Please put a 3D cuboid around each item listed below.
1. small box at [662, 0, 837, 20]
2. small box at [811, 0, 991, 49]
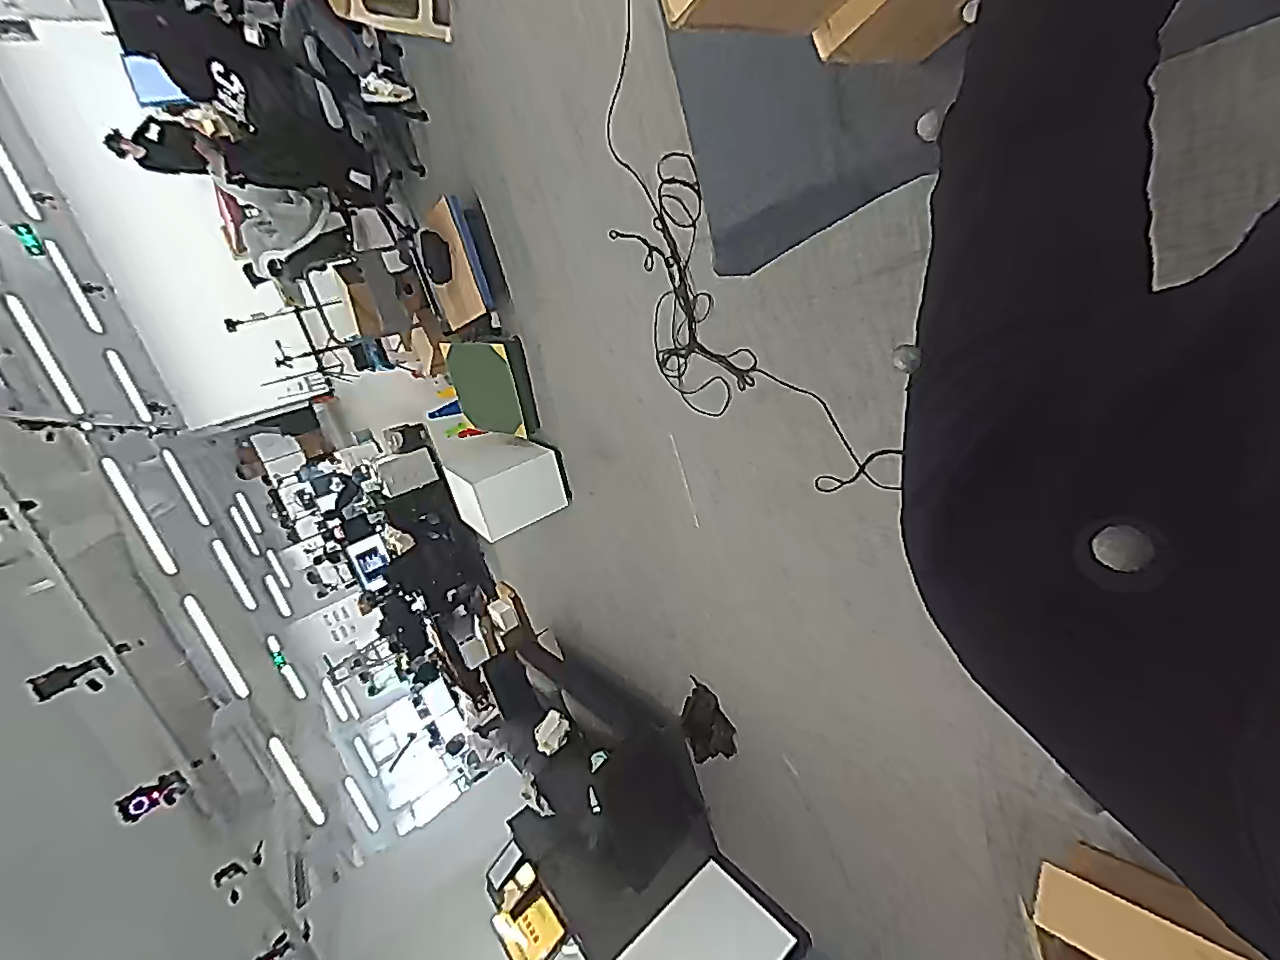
[{"bbox_3d":[0.105,-0.437,0.345,0.179,0.176,0.168,0,114,57],"label":"small box"},{"bbox_3d":[0.233,-0.488,0.432,0.168,0.176,0.179,-9,106,59],"label":"small box"}]
